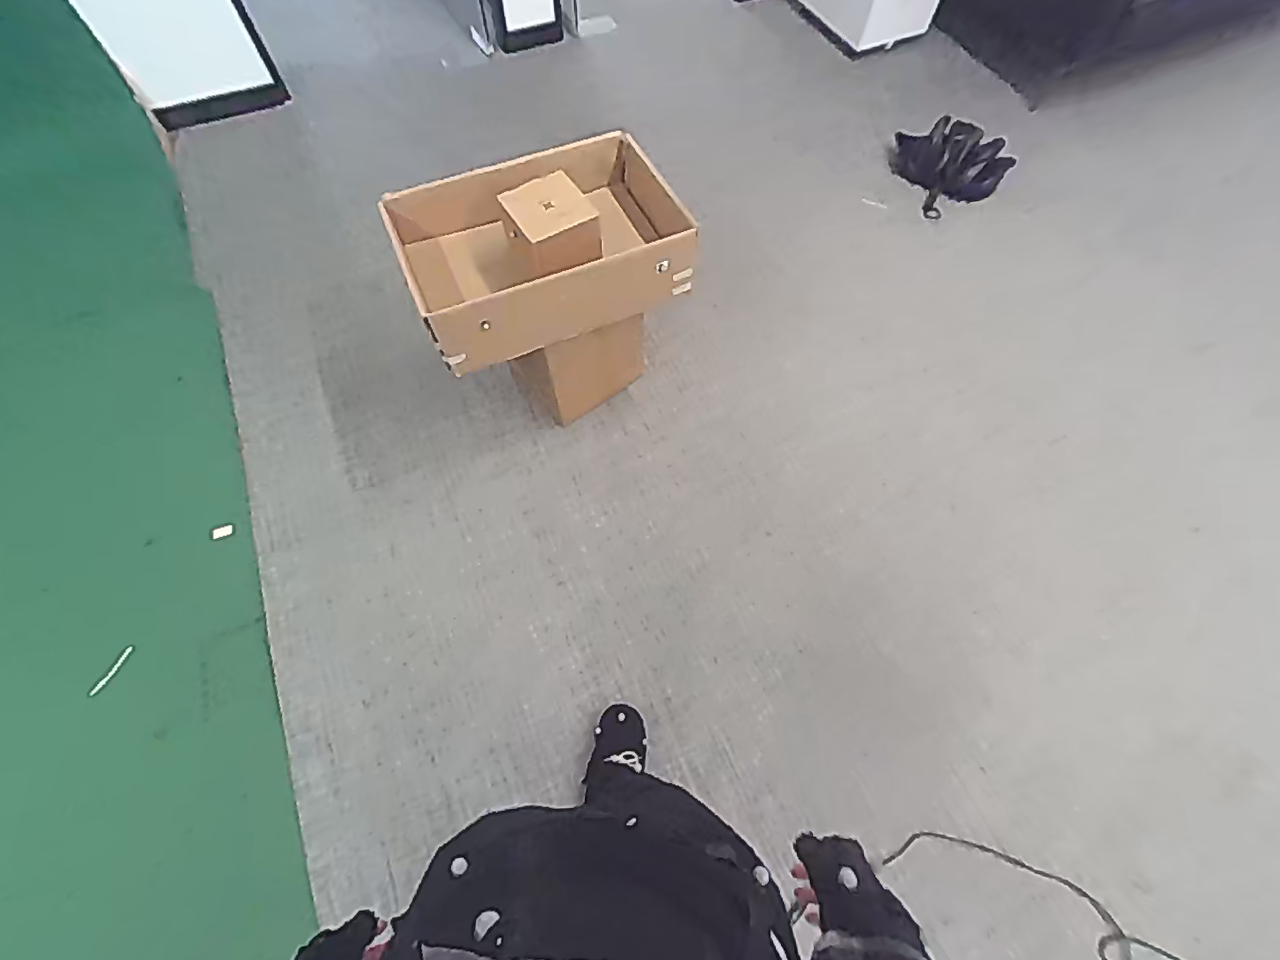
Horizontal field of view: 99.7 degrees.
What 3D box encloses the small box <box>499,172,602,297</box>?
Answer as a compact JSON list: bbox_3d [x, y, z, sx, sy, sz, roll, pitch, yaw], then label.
[{"bbox_3d":[-0.200,-0.558,1.239,0.168,0.176,0.179,-29,69,-13],"label":"small box"}]
